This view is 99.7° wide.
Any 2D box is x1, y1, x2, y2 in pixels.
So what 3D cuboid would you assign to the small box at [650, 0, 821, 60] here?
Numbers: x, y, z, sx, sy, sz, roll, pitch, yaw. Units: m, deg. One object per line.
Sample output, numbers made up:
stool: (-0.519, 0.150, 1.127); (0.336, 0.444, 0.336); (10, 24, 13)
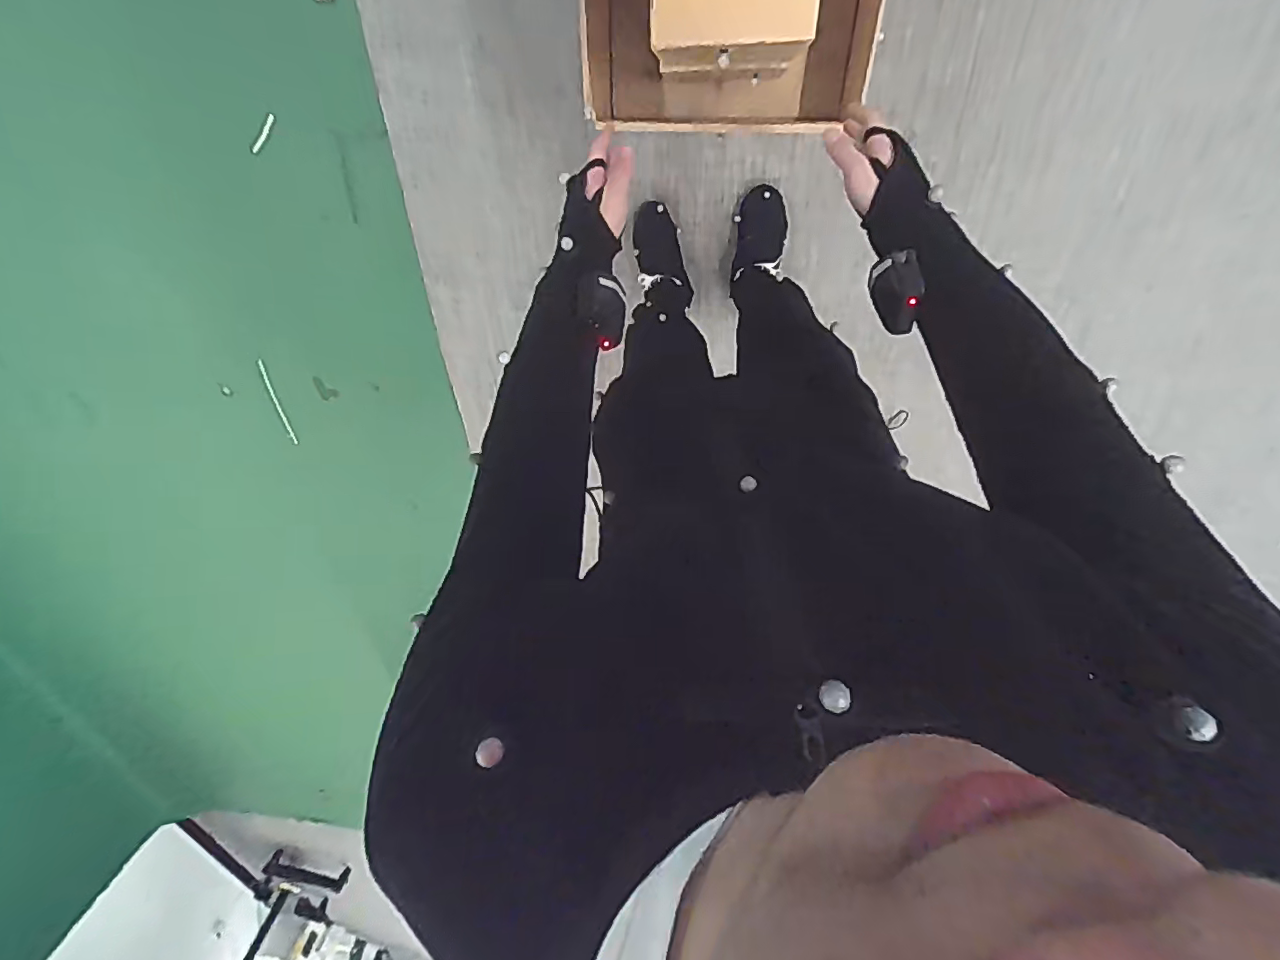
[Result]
small box: (0.106, -0.574, 0.592); (0.179, 0.176, 0.168); (3, 123, 8)
